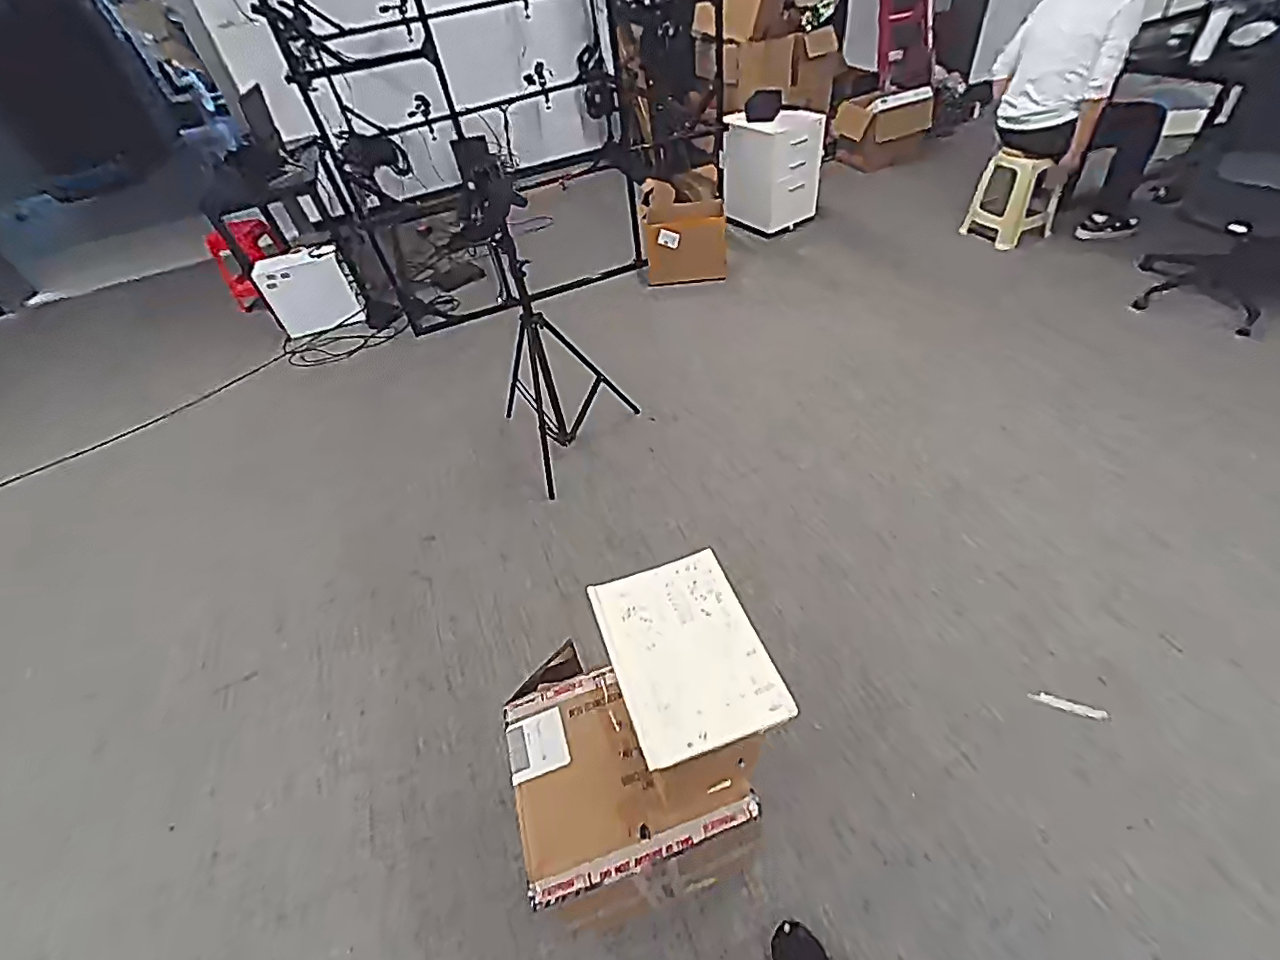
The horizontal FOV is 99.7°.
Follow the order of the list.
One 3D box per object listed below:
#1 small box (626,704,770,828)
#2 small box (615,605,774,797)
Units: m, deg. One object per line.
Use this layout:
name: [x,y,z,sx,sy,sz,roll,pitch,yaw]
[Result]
small box: [0.092,0.439,0.898,0.179,0.176,0.168,-21,47,-13]
small box: [0.072,0.321,0.787,0.168,0.176,0.179,-19,47,-12]
